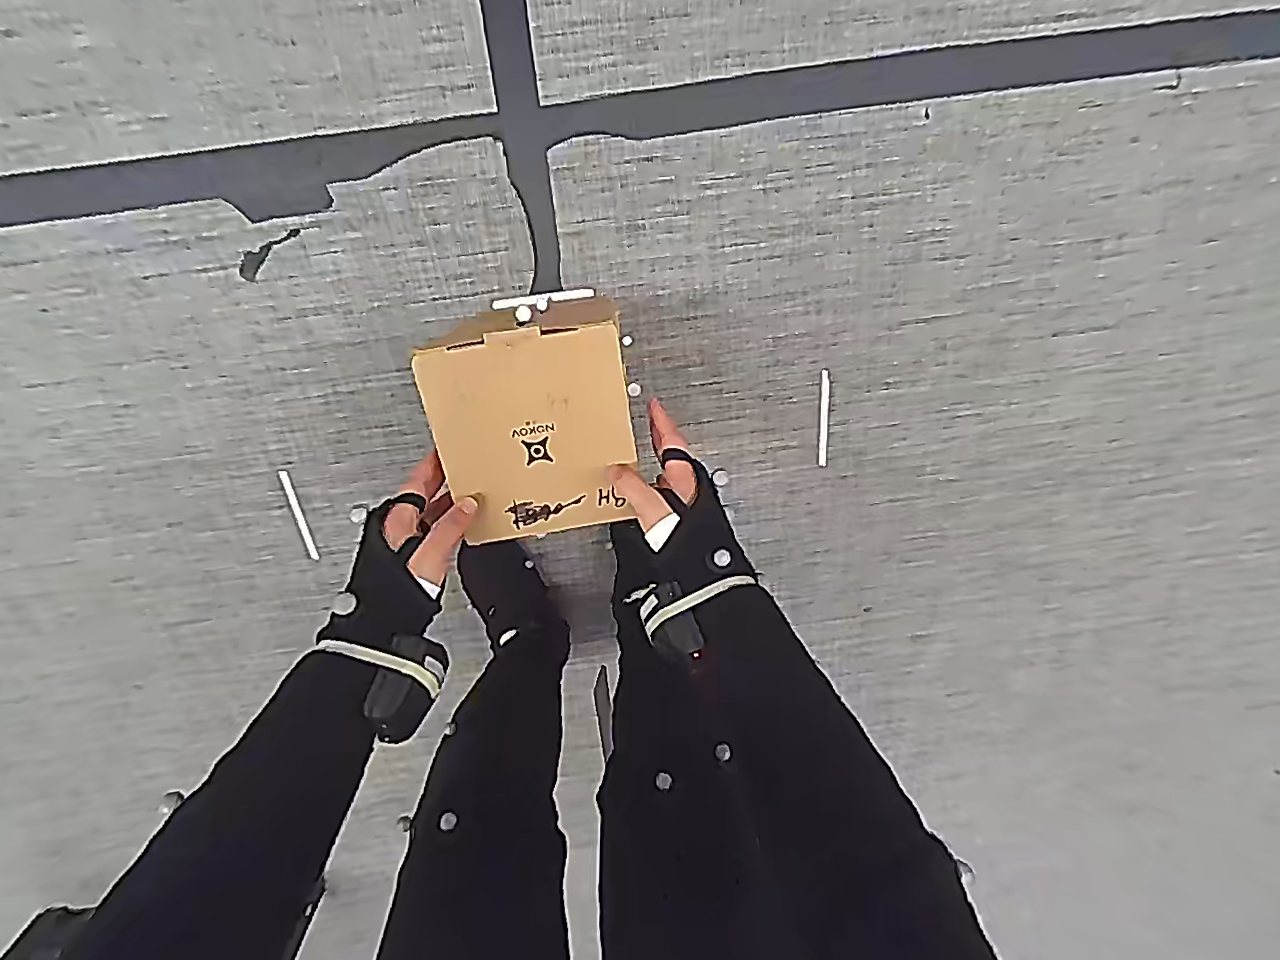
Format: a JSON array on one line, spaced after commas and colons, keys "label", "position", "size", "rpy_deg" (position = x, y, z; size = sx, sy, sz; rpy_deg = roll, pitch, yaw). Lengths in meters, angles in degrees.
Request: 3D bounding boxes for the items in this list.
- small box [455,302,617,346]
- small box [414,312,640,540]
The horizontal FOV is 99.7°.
[{"label": "small box", "position": [-0.114, -0.129, 0.688], "size": [0.179, 0.176, 0.168], "rpy_deg": [-8, 112, -1]}, {"label": "small box", "position": [-0.099, -0.066, 0.538], "size": [0.168, 0.176, 0.179], "rpy_deg": [-10, 113, -1]}]
